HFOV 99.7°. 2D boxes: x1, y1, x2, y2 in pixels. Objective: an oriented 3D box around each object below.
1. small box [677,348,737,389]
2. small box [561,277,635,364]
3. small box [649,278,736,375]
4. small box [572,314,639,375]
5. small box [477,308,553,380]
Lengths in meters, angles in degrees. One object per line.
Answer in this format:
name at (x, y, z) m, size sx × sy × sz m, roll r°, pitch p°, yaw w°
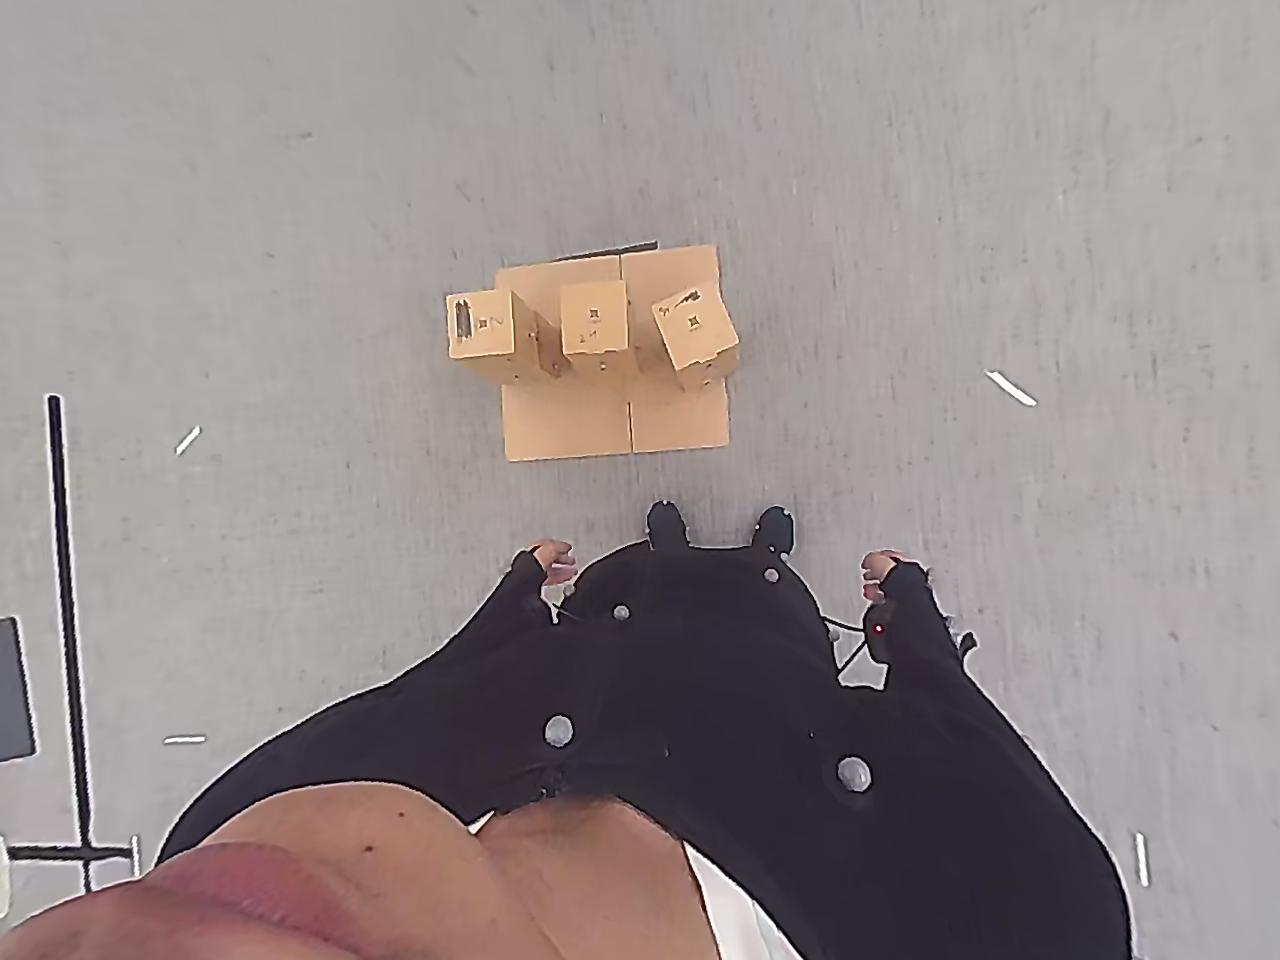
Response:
small box at (0.165, -0.379, 1.539) m, size 0.168 × 0.176 × 0.179 m, roll -24°, pitch 86°, yaw 7°
small box at (-0.106, -0.408, 1.405) m, size 0.168 × 0.176 × 0.179 m, roll -2°, pitch 90°, yaw 7°
small box at (0.138, -0.379, 1.378) m, size 0.168 × 0.176 × 0.179 m, roll -22°, pitch 88°, yaw 7°
small box at (-0.096, -0.406, 1.570) m, size 0.179 × 0.176 × 0.168 m, roll -3°, pitch 90°, yaw 6°
small box at (-0.361, -0.397, 1.599) m, size 0.179 × 0.176 × 0.168 m, roll -4°, pitch 89°, yaw 8°
